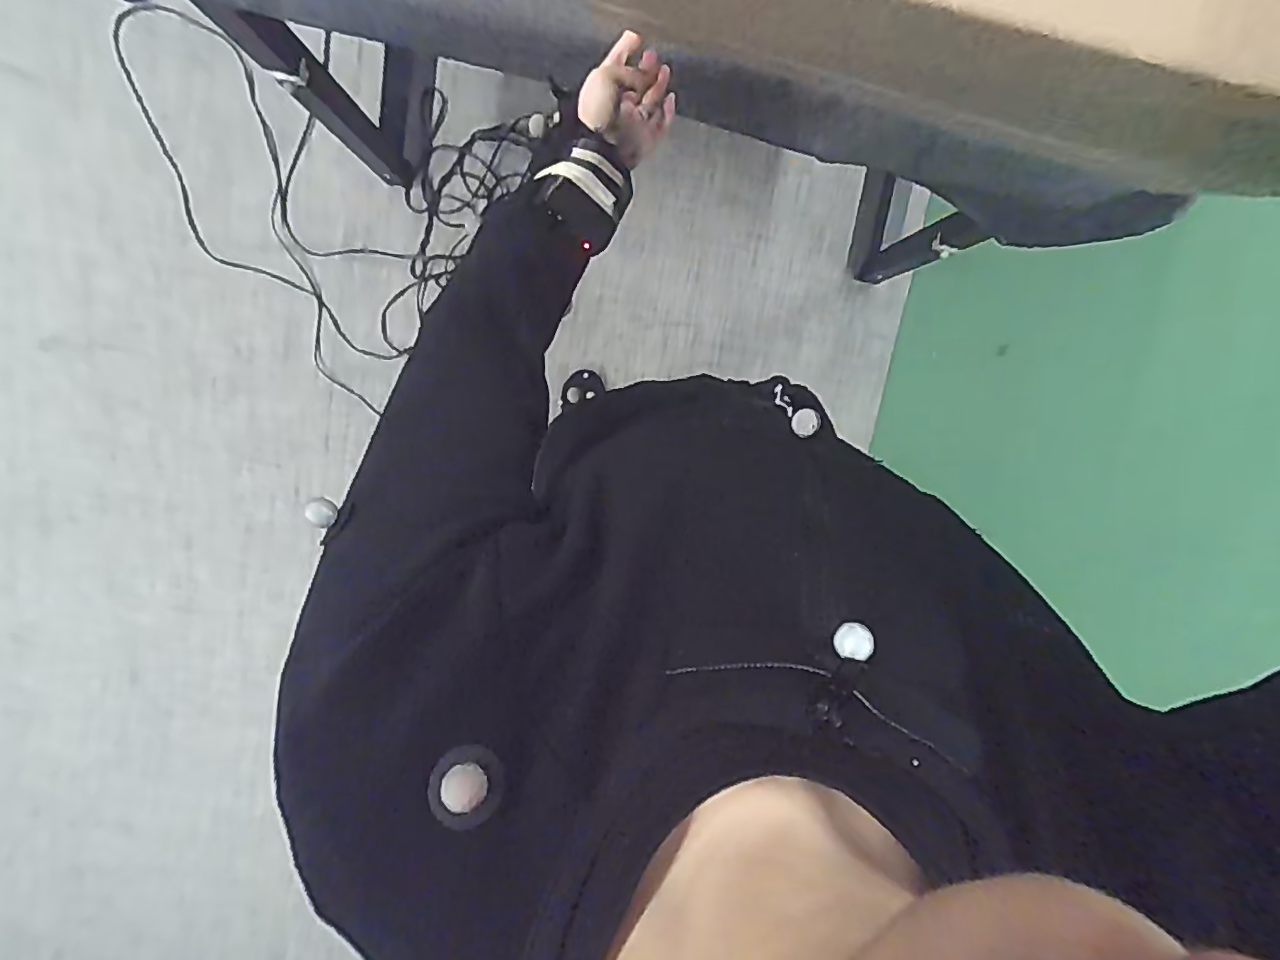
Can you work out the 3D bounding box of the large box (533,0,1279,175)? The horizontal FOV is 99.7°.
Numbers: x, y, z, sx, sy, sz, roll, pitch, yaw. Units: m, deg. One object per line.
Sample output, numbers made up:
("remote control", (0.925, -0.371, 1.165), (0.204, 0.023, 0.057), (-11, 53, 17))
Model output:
("large box", (0.161, -0.346, 0.221), (0.408, 0.320, 0.320), (22, 124, 10))
